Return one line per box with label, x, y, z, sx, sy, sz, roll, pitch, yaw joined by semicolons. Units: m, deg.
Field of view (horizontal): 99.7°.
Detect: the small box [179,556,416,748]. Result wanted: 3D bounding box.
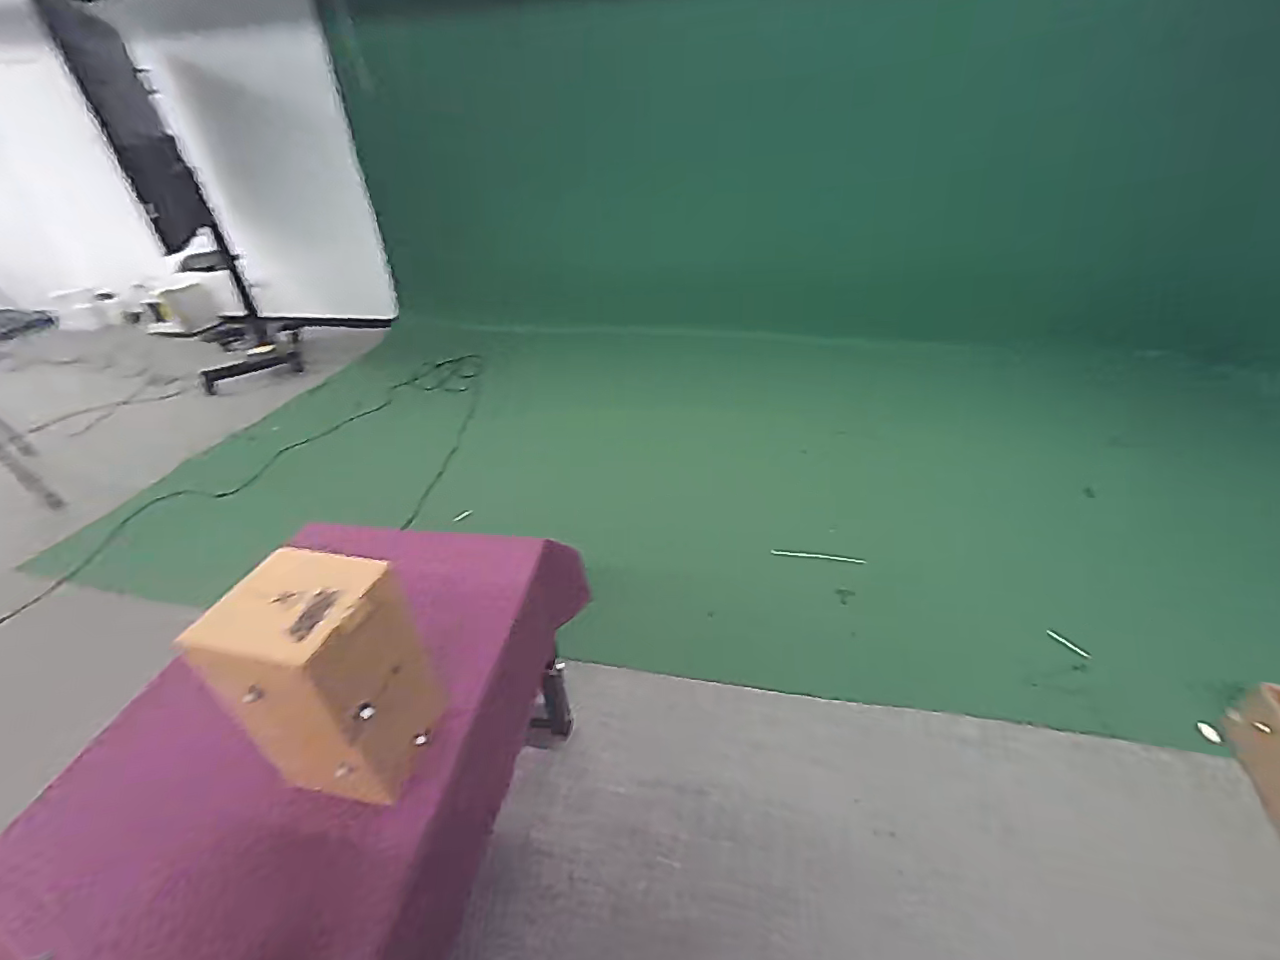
small box;-0.430;0.226;0.715;0.179;0.176;0.168;4;35;13
